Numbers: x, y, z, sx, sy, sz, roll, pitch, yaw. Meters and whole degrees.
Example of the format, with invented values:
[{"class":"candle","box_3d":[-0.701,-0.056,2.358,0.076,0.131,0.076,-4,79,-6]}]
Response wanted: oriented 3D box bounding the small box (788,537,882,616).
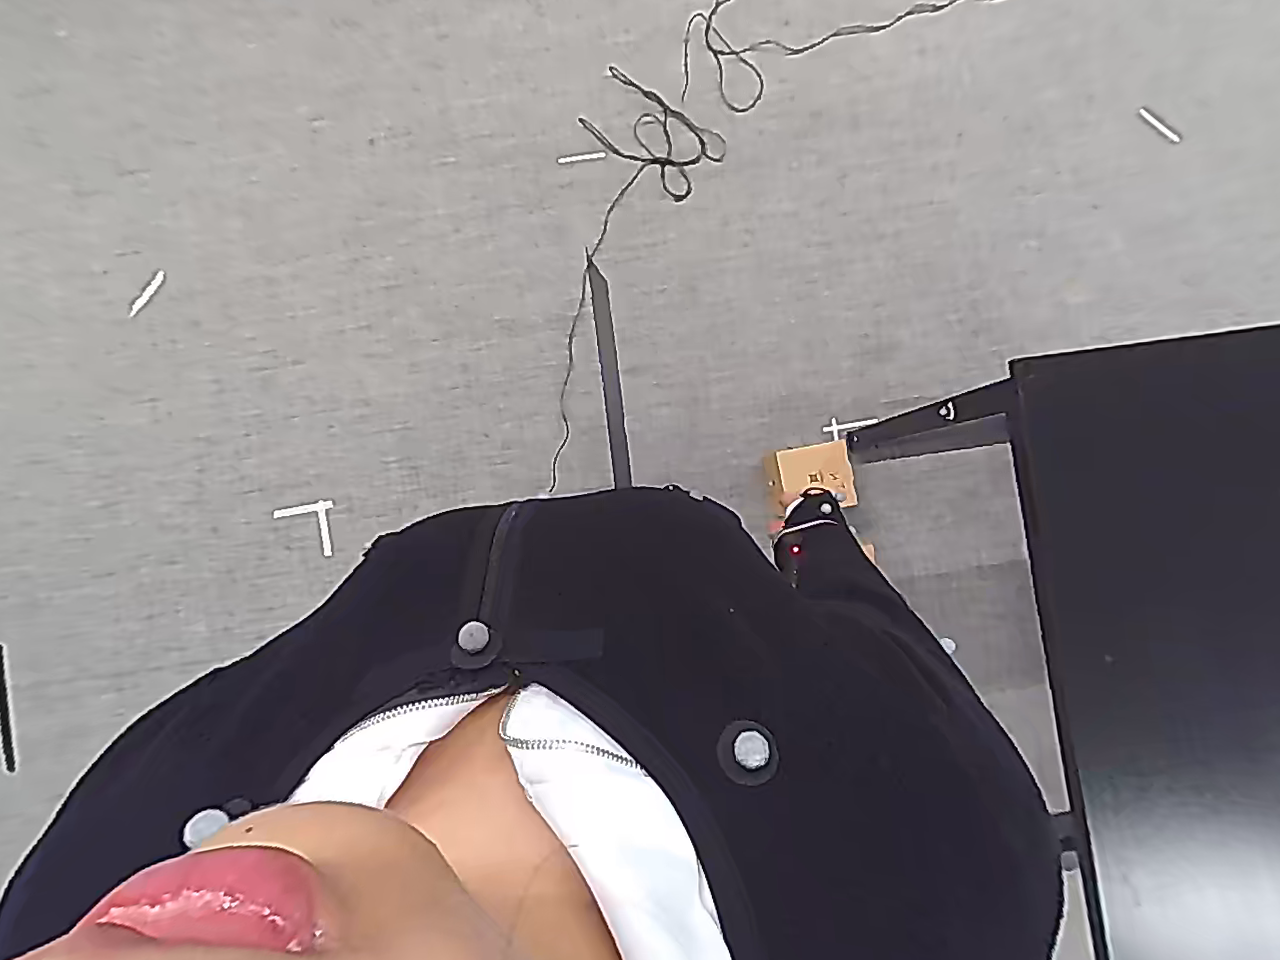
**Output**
[{"class":"small box","box_3d":[0.499,0.245,1.406,0.179,0.176,0.168,-9,88,3]}]
